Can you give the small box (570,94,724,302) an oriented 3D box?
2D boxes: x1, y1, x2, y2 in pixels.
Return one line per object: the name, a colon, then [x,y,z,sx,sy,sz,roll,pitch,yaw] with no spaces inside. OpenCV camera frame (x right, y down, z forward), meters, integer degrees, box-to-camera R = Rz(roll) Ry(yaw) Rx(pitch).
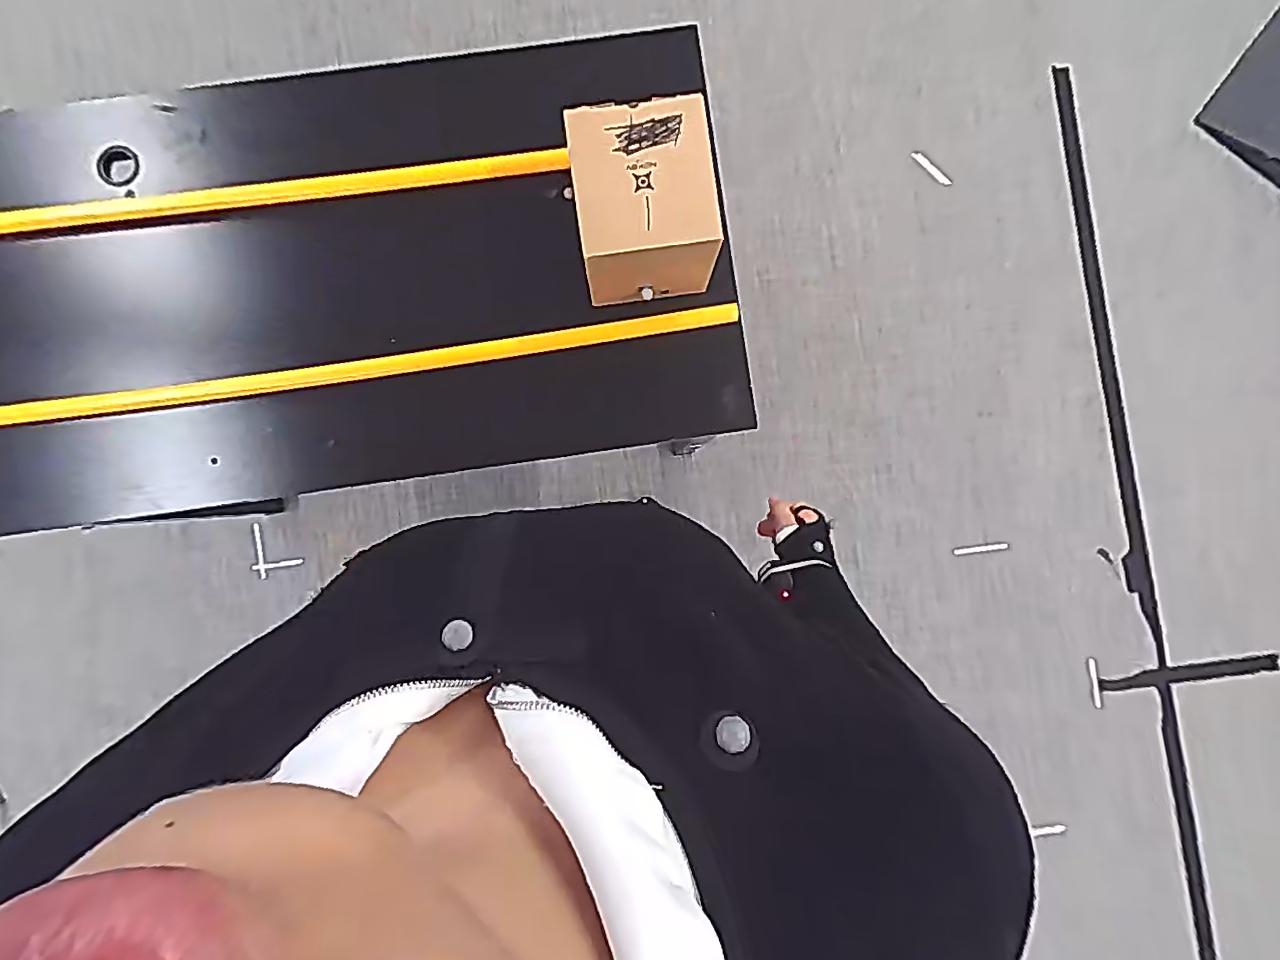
small box: [0.005,-0.353,0.705,0.168,0.176,0.179,-7,89,-1]
